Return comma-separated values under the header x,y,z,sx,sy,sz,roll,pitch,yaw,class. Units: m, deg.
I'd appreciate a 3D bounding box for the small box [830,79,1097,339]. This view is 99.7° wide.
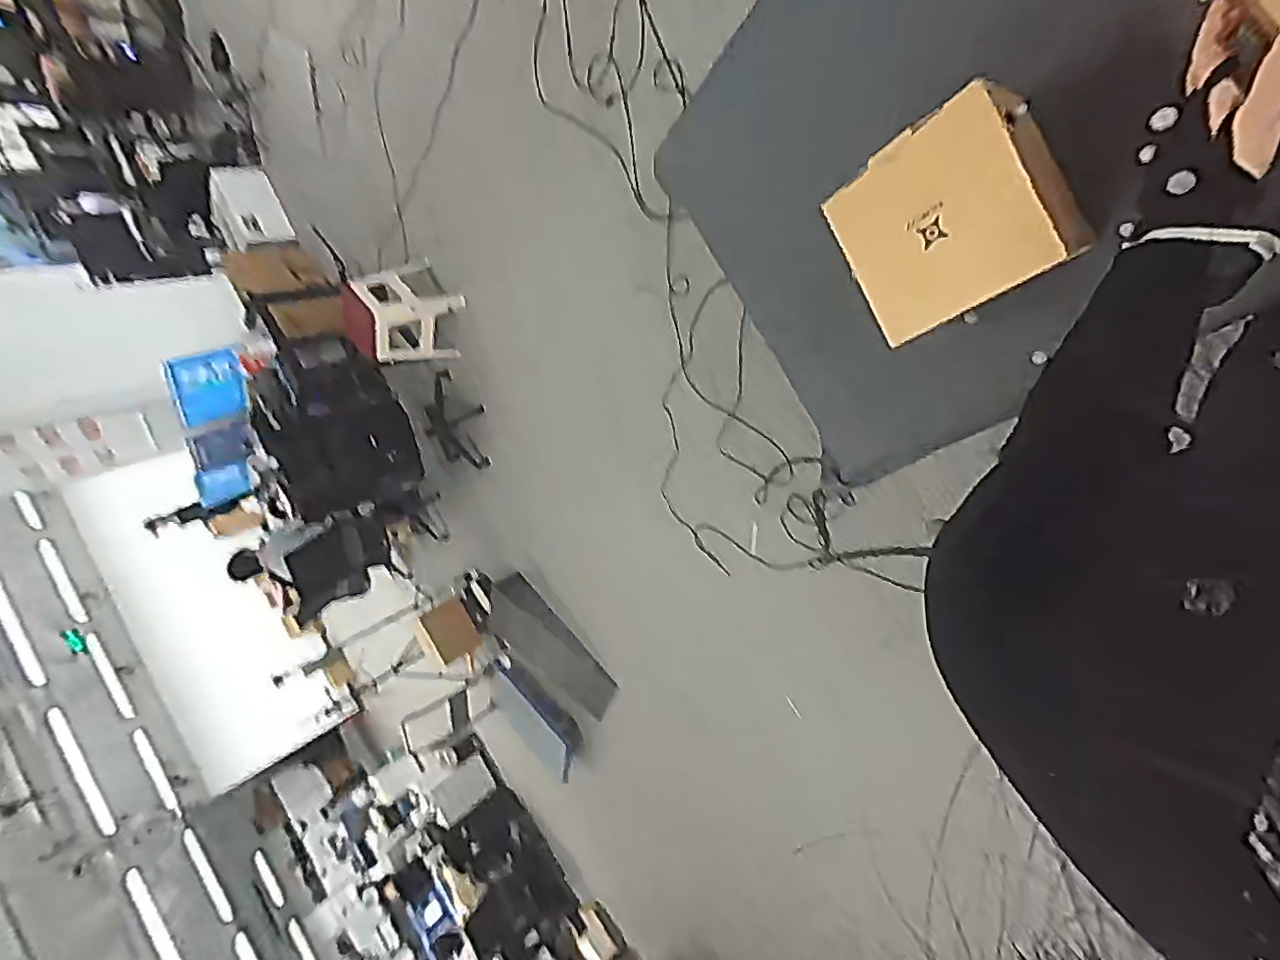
x,y,z,sx,sy,sz,roll,pitch,yaw,class
0.346,-0.279,0.578,0.168,0.176,0.179,-28,88,51,small box
